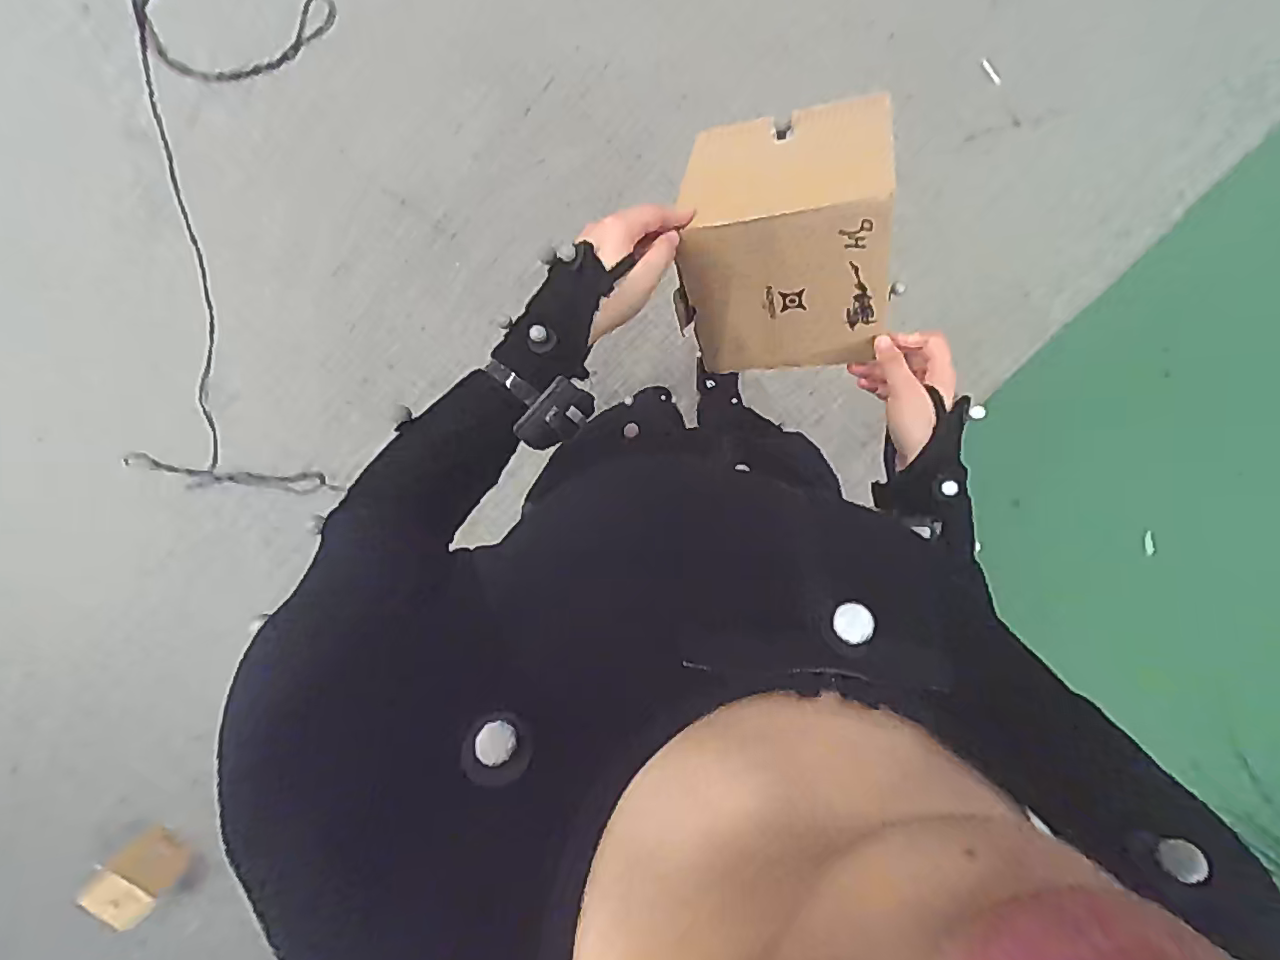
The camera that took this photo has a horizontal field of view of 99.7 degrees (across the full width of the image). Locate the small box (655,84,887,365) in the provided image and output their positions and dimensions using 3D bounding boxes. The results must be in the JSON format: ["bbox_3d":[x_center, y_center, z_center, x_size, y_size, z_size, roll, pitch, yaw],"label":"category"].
[{"bbox_3d":[0.133,-0.231,0.511,0.179,0.176,0.168,0,146,22],"label":"small box"}]

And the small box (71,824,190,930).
[{"bbox_3d":[-1.564,1.223,1.674,0.179,0.176,0.168,-40,102,8],"label":"small box"}]
